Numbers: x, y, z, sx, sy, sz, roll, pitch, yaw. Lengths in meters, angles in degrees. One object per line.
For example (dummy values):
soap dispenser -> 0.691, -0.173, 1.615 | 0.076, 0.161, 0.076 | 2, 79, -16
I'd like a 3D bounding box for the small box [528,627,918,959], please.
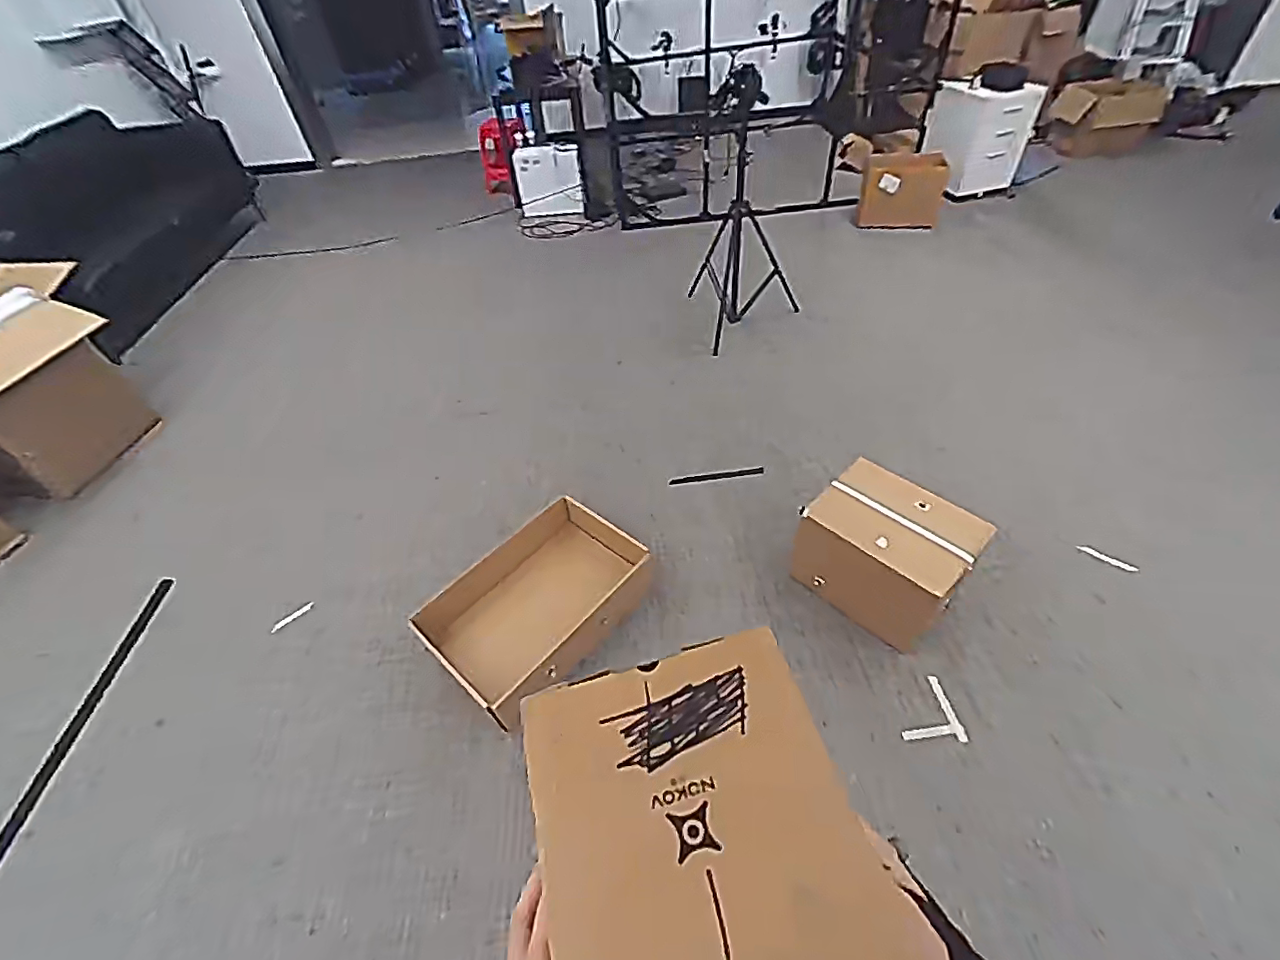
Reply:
small box -> 0.036, 0.229, 0.353 | 0.168, 0.176, 0.179 | -16, 51, -5
